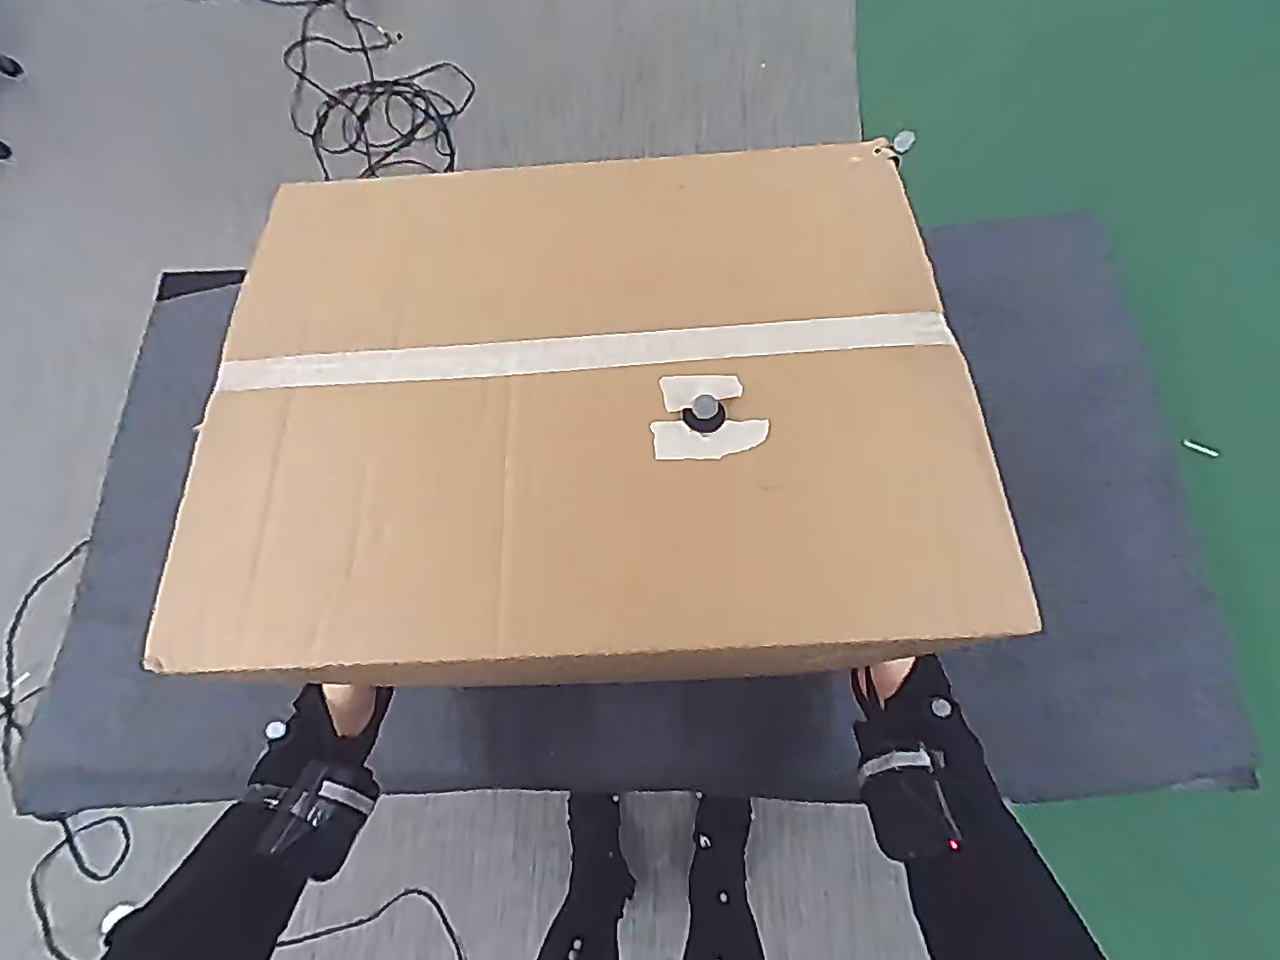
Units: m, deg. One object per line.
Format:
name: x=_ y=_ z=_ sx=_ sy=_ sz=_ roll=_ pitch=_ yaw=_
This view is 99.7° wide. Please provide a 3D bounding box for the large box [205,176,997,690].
large box: x=-0.024 y=-0.001 z=0.460 sx=0.408 sy=0.320 sz=0.320 roll=-3 pitch=68 yaw=2
